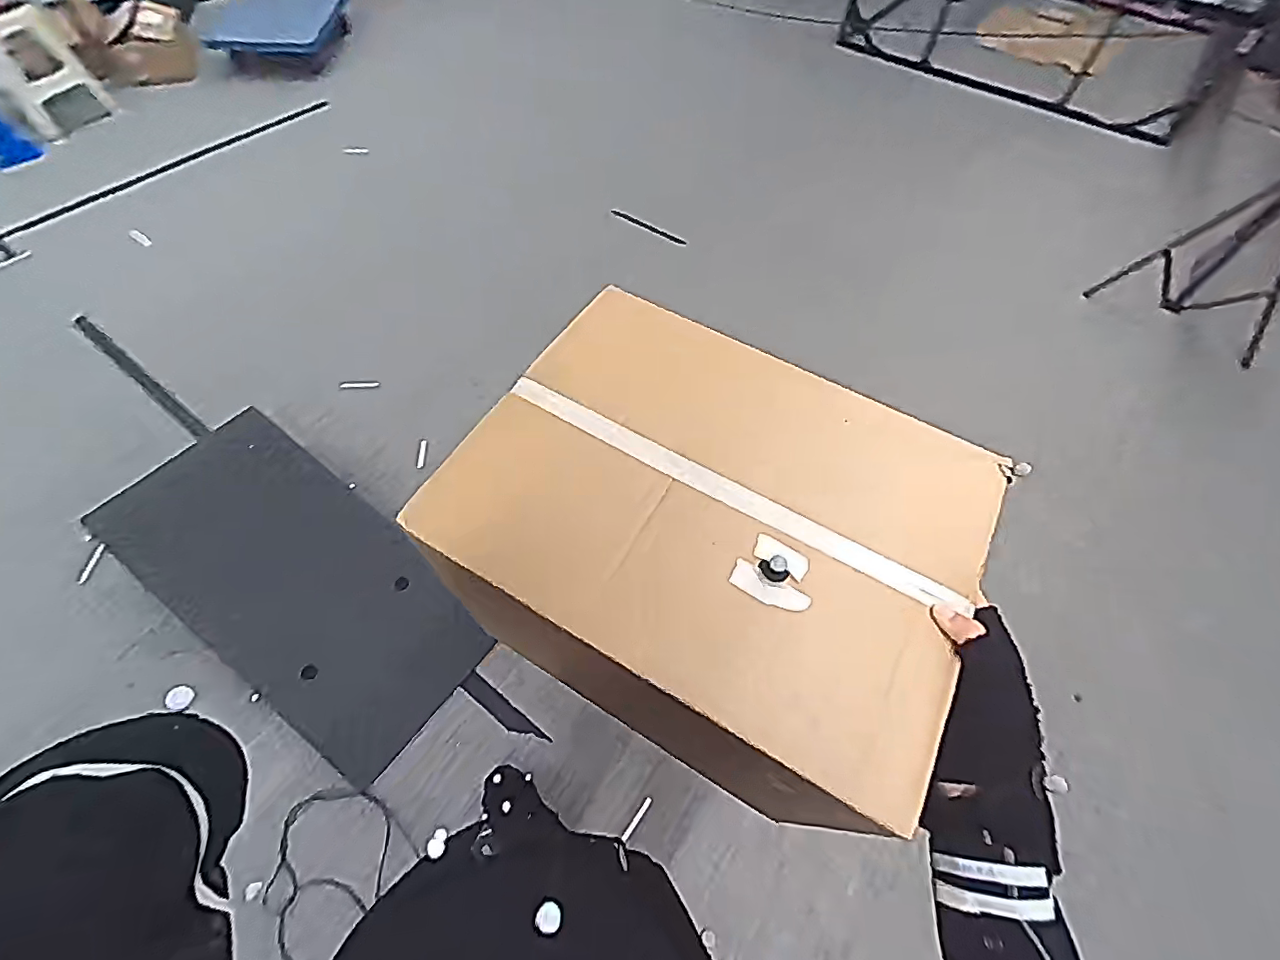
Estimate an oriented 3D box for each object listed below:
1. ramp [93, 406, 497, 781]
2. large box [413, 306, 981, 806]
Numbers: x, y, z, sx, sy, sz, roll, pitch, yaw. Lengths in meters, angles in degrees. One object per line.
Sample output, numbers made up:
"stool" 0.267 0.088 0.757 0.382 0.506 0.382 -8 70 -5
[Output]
"ramp" -0.875 0.242 1.430 0.991 0.206 0.509 32 61 16
"large box" 0.053 0.088 0.585 0.408 0.320 0.320 28 63 12
